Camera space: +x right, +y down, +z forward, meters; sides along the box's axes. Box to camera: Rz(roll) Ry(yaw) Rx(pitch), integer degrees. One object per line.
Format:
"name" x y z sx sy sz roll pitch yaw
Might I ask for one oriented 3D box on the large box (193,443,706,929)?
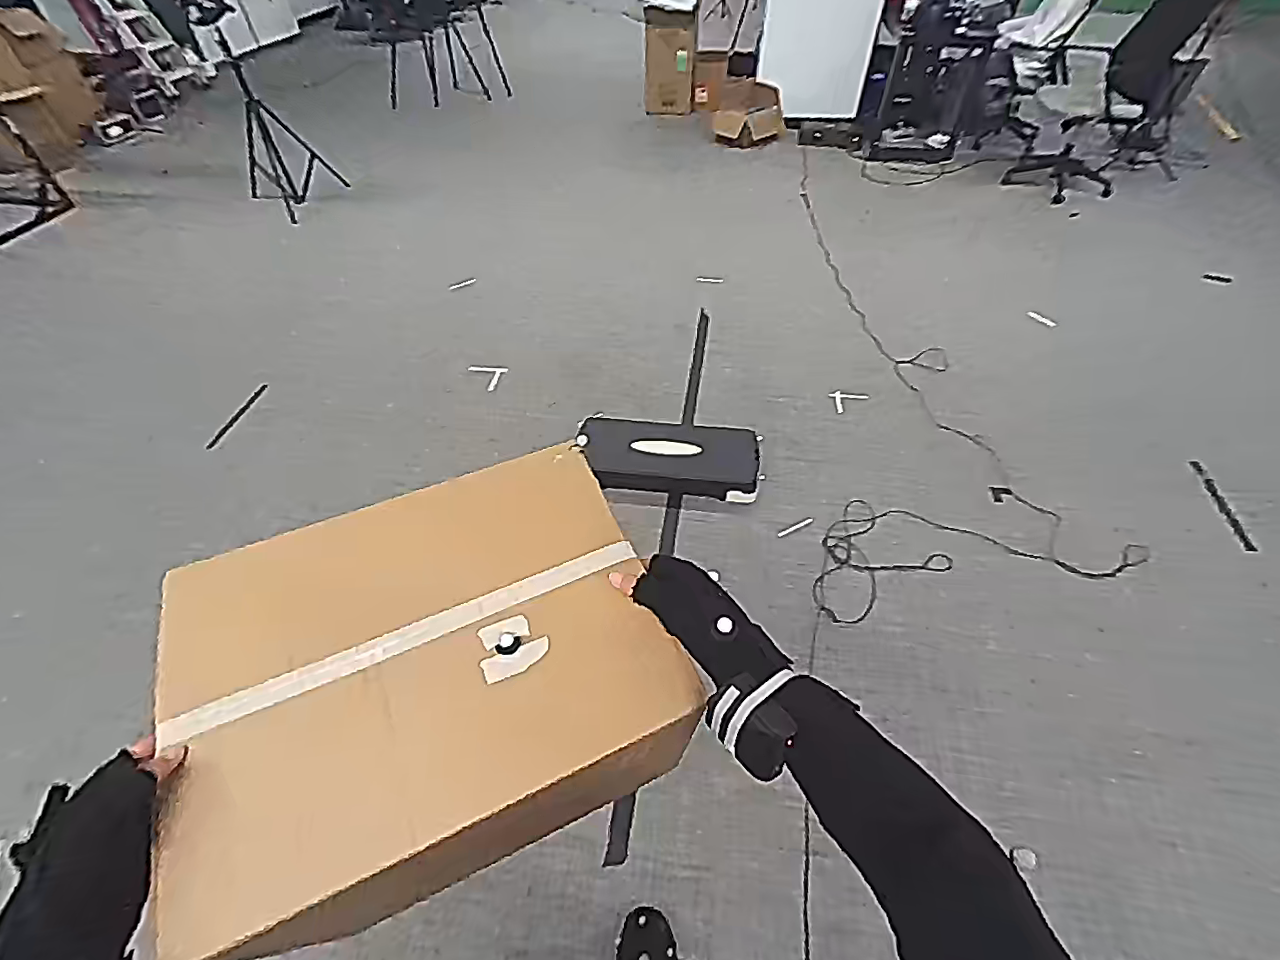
"large box" -0.187 0.219 0.613 0.408 0.320 0.320 -19 57 -15
